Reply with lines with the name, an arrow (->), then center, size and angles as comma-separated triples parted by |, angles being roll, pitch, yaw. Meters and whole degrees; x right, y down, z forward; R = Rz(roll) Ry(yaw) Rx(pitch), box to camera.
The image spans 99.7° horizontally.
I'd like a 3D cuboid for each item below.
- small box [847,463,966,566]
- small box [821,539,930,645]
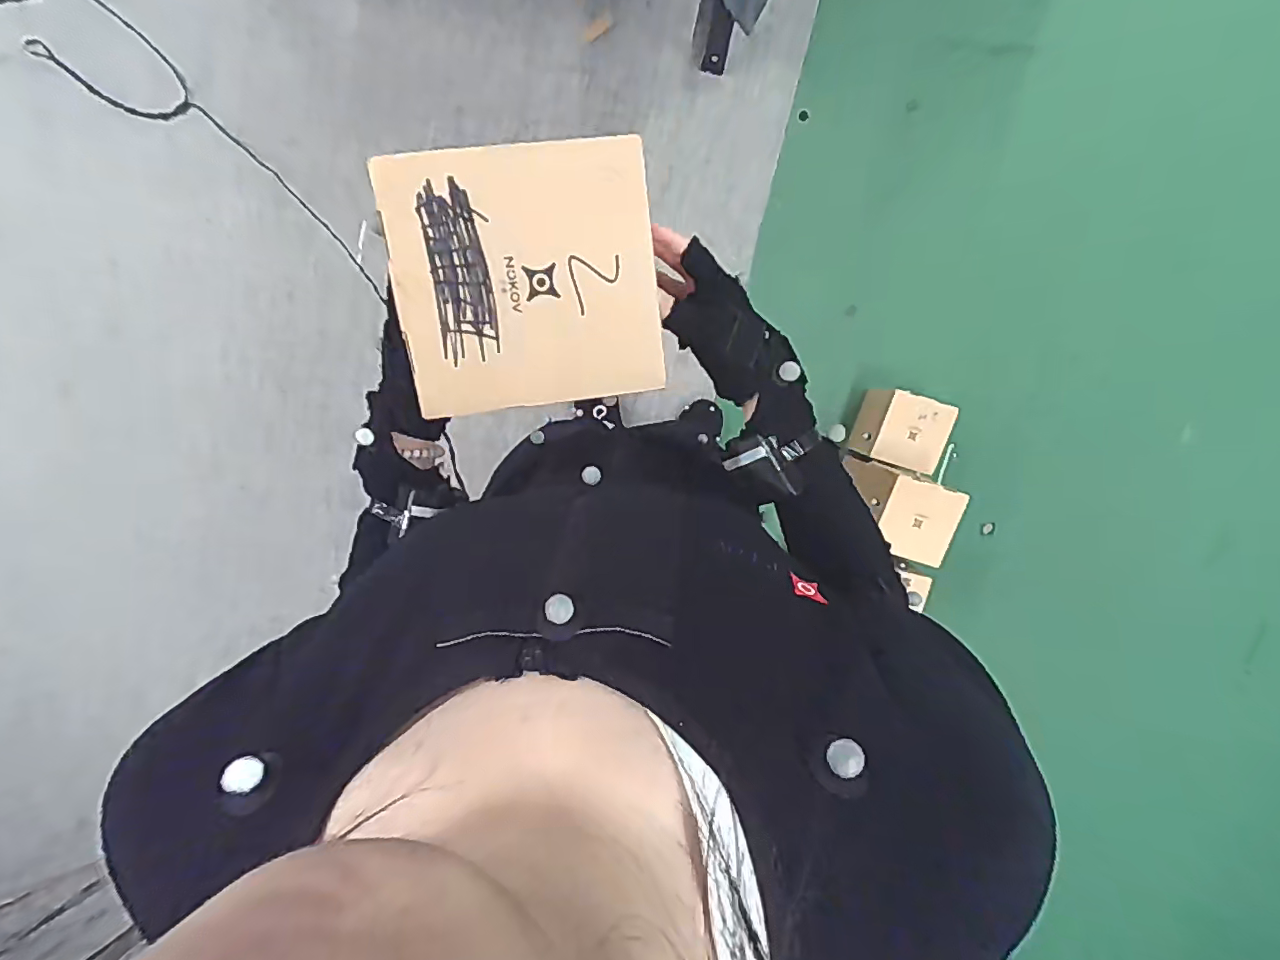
small box -> 0.608, 0.073, 1.264 | 0.168, 0.176, 0.179 | 18, 100, -2
small box -> 0.553, 0.264, 1.299 | 0.168, 0.176, 0.179 | 13, 102, -2
